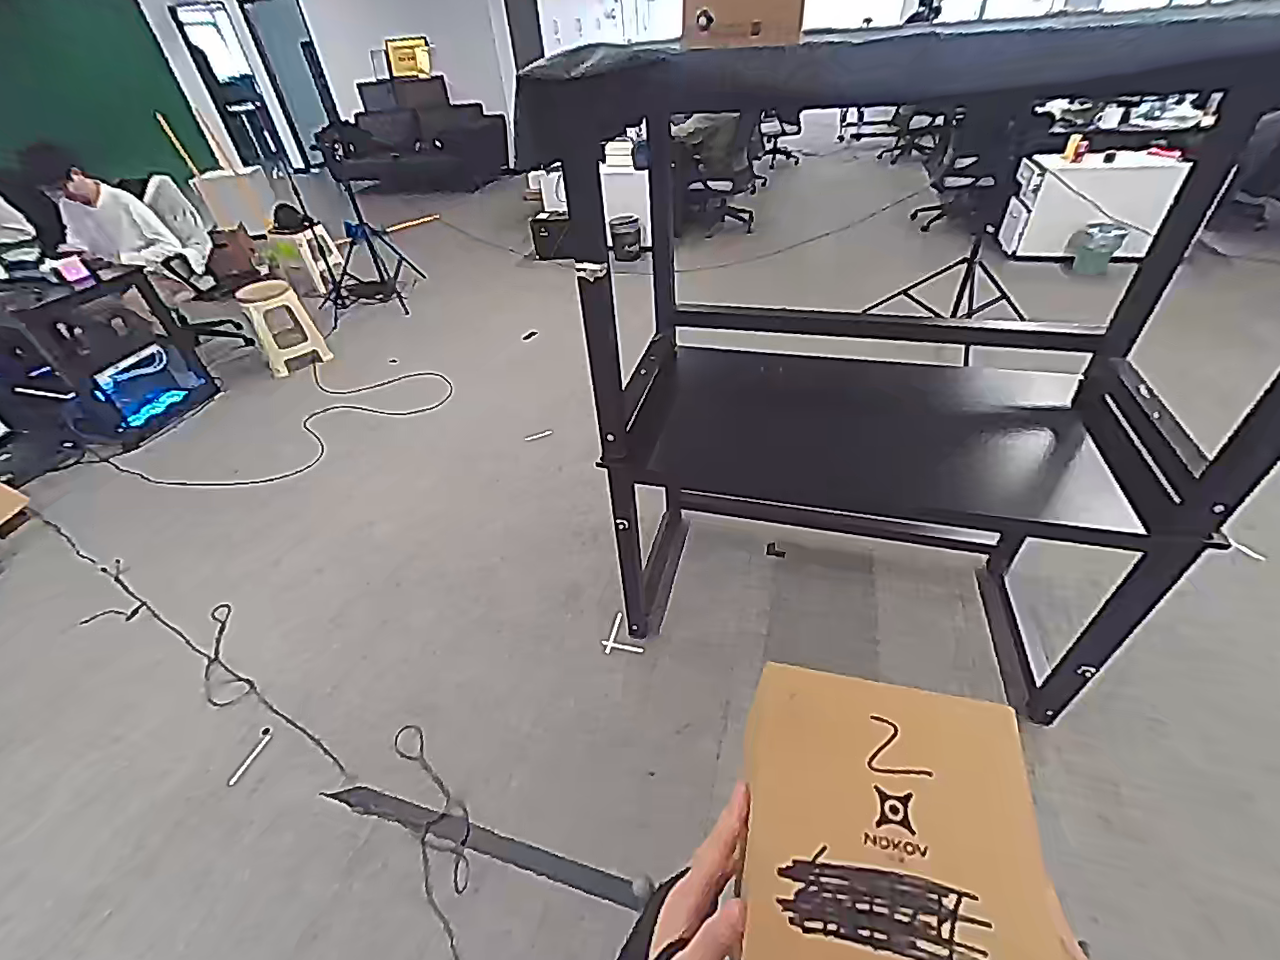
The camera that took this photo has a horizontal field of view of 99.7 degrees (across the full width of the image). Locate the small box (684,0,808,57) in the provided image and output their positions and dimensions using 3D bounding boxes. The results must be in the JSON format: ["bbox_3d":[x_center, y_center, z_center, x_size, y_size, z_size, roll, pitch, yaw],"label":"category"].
[{"bbox_3d":[0.154,-0.706,0.758,0.168,0.176,0.179,7,39,12],"label":"small box"}]
